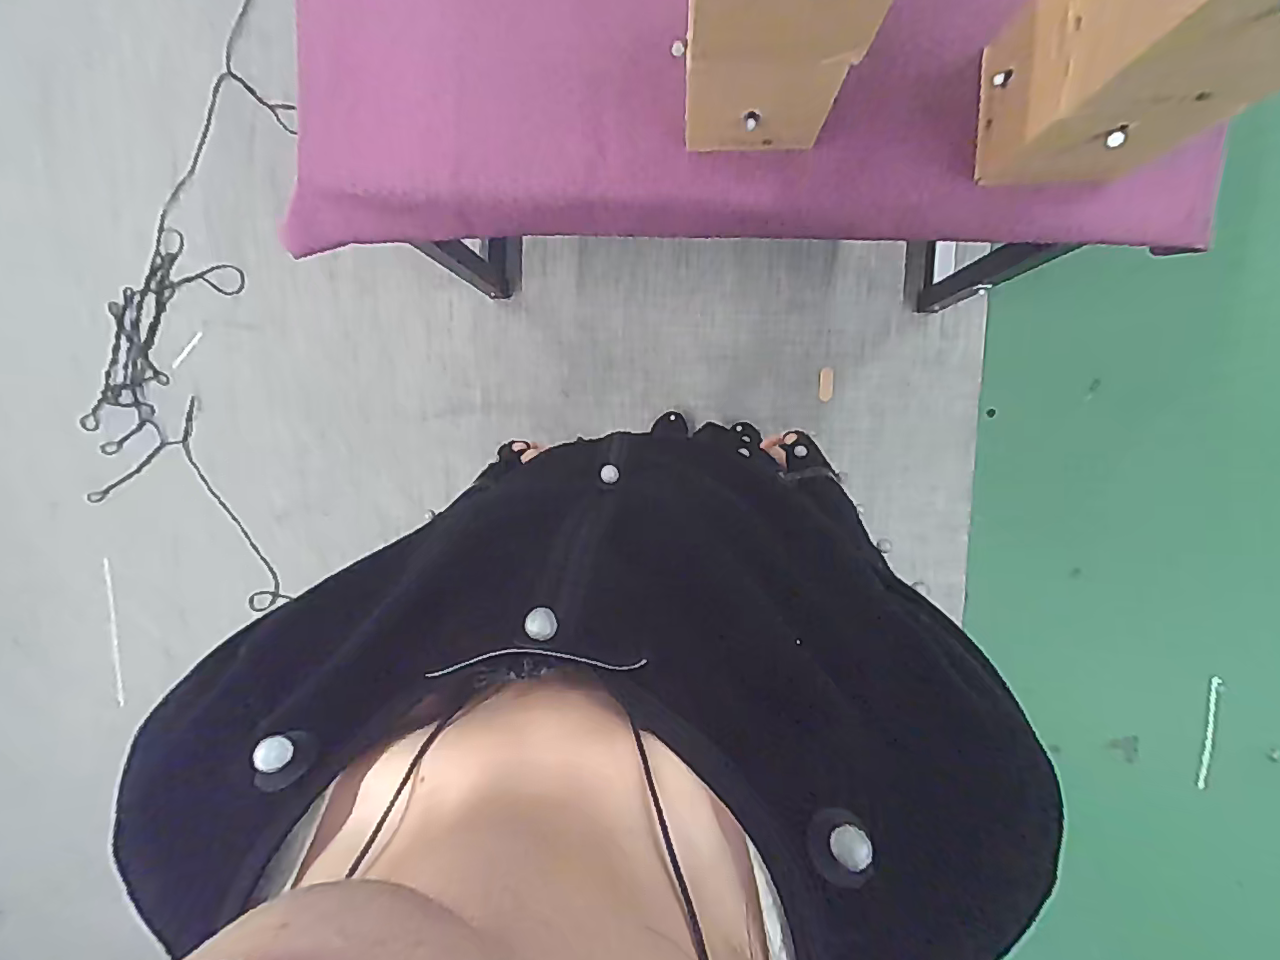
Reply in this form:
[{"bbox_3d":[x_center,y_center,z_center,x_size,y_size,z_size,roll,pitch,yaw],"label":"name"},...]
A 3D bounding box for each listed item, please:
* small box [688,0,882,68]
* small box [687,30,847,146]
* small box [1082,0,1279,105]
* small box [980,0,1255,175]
[{"bbox_3d":[0.130,-0.494,0.466,0.179,0.176,0.168,1,96,5],"label":"small box"},{"bbox_3d":[0.141,-0.515,0.627,0.168,0.176,0.179,2,95,5],"label":"small box"},{"bbox_3d":[0.501,-0.445,0.434,0.168,0.176,0.179,1,96,8],"label":"small box"},{"bbox_3d":[0.516,-0.460,0.597,0.179,0.176,0.168,0,97,7],"label":"small box"}]
